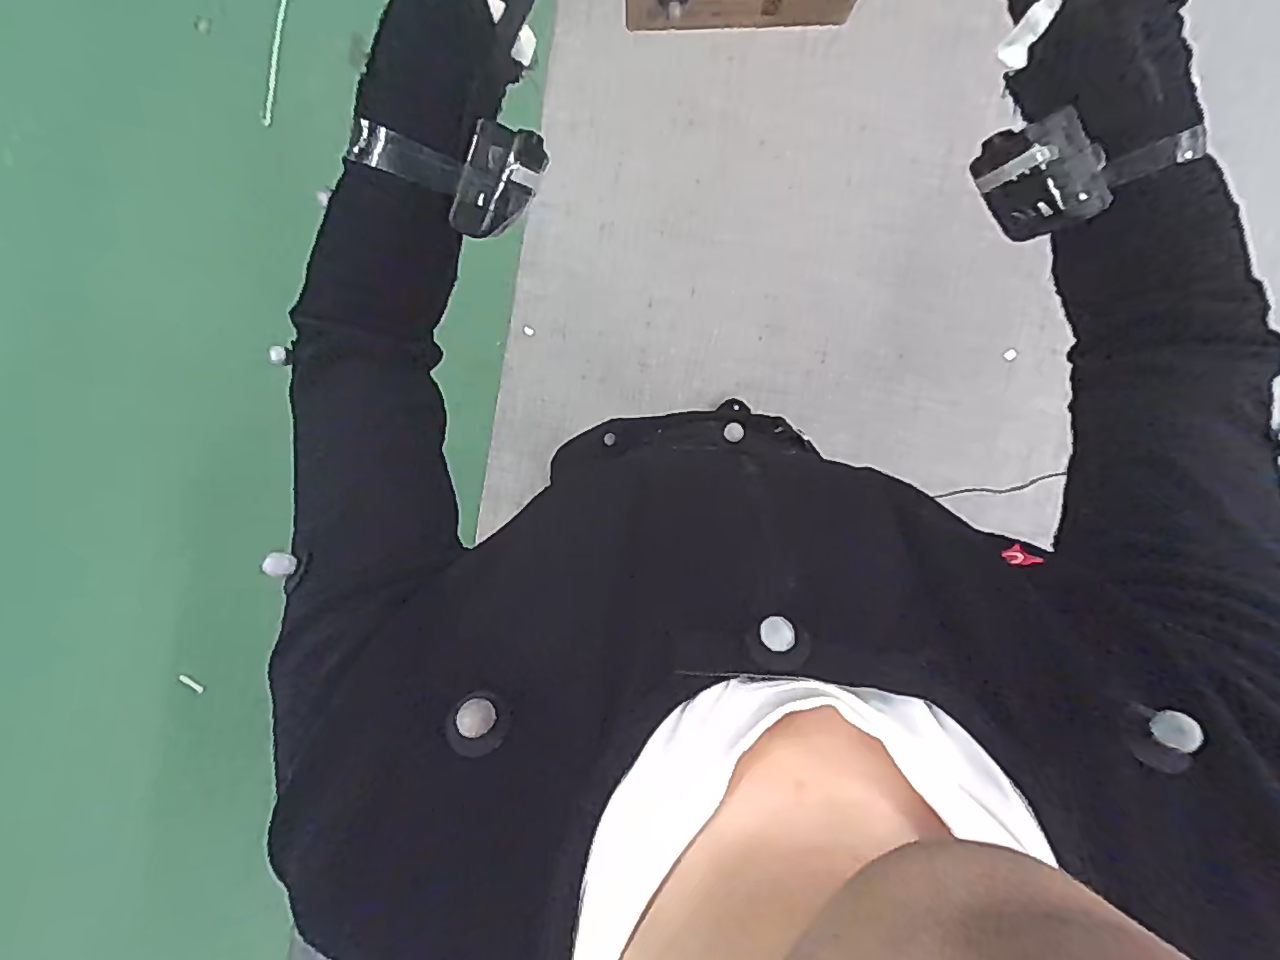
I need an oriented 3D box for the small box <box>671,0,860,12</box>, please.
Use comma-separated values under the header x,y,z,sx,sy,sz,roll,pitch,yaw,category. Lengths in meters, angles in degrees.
x,y,z,sx,sy,sz,roll,pitch,yaw,category
0.084,-0.422,0.315,0.168,0.176,0.179,-1,93,-1,small box
